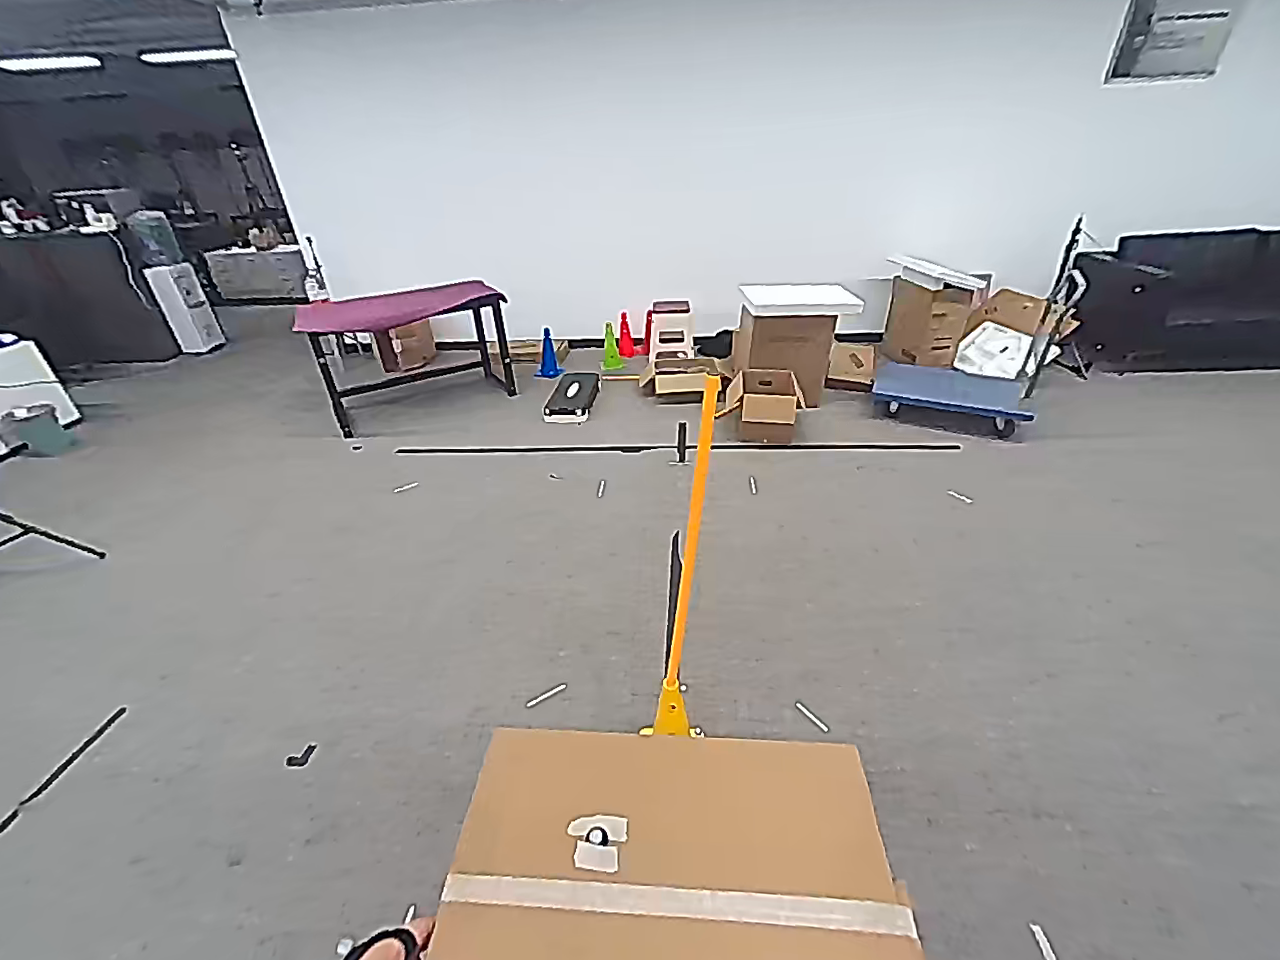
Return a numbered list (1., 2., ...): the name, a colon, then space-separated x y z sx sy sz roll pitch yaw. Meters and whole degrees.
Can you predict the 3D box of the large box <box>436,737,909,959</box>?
1. large box: 0.039 0.501 0.570 0.408 0.320 0.320 -2 34 6
